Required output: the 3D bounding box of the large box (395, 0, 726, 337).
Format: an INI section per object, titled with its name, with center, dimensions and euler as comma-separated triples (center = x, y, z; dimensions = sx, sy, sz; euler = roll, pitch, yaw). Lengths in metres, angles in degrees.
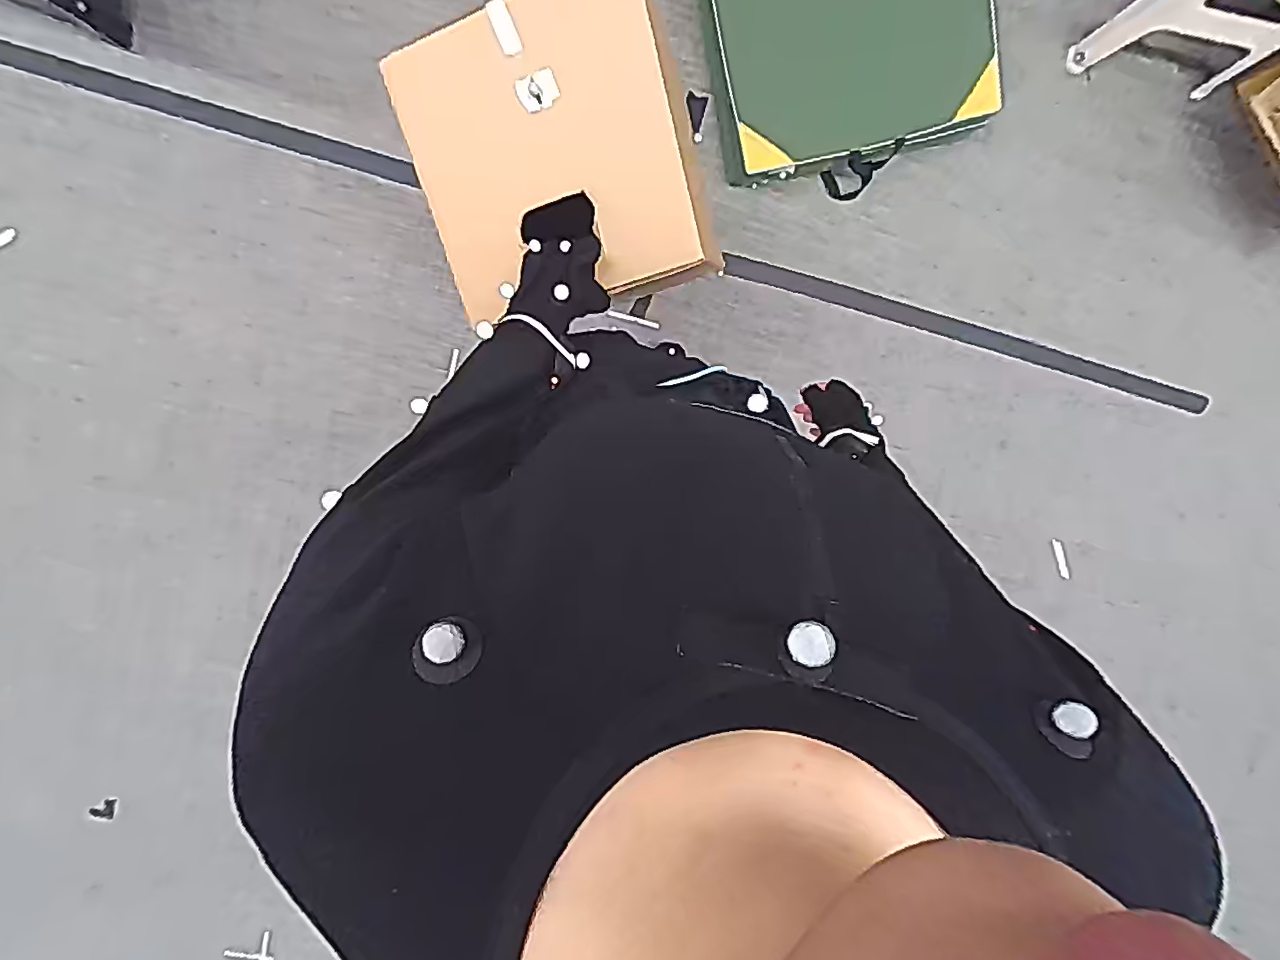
[large box]
center = -0.069, -0.426, 0.806
dimensions = 0.320, 0.408, 0.320
euler = -10, 108, 16
